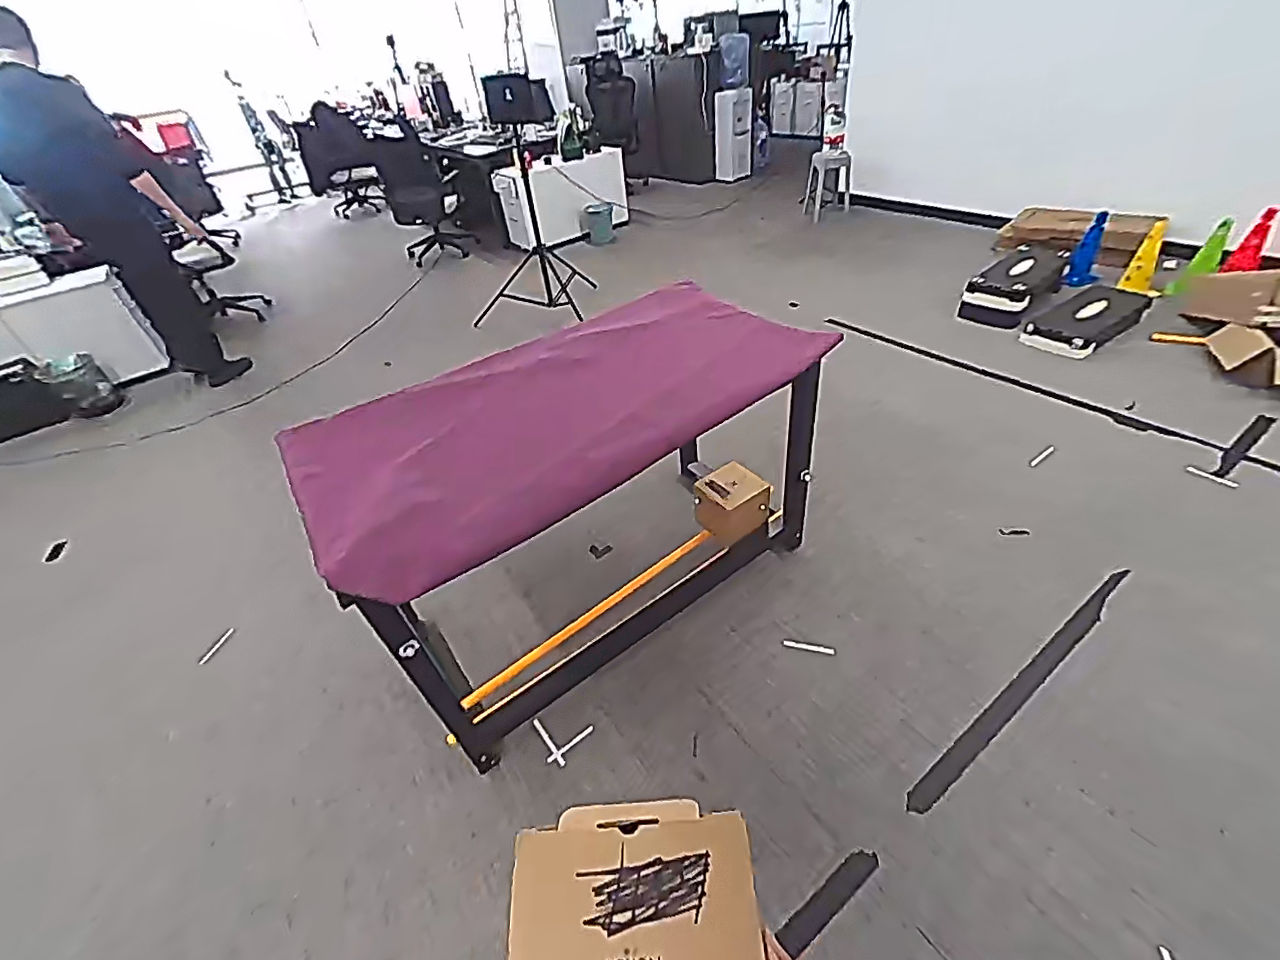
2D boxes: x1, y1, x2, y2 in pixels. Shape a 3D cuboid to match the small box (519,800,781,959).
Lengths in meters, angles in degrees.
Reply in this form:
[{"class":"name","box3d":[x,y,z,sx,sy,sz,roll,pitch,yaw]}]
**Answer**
[{"class":"small box","box3d":[0.014,0.351,0.391,0.168,0.176,0.179,-7,50,4]}]
